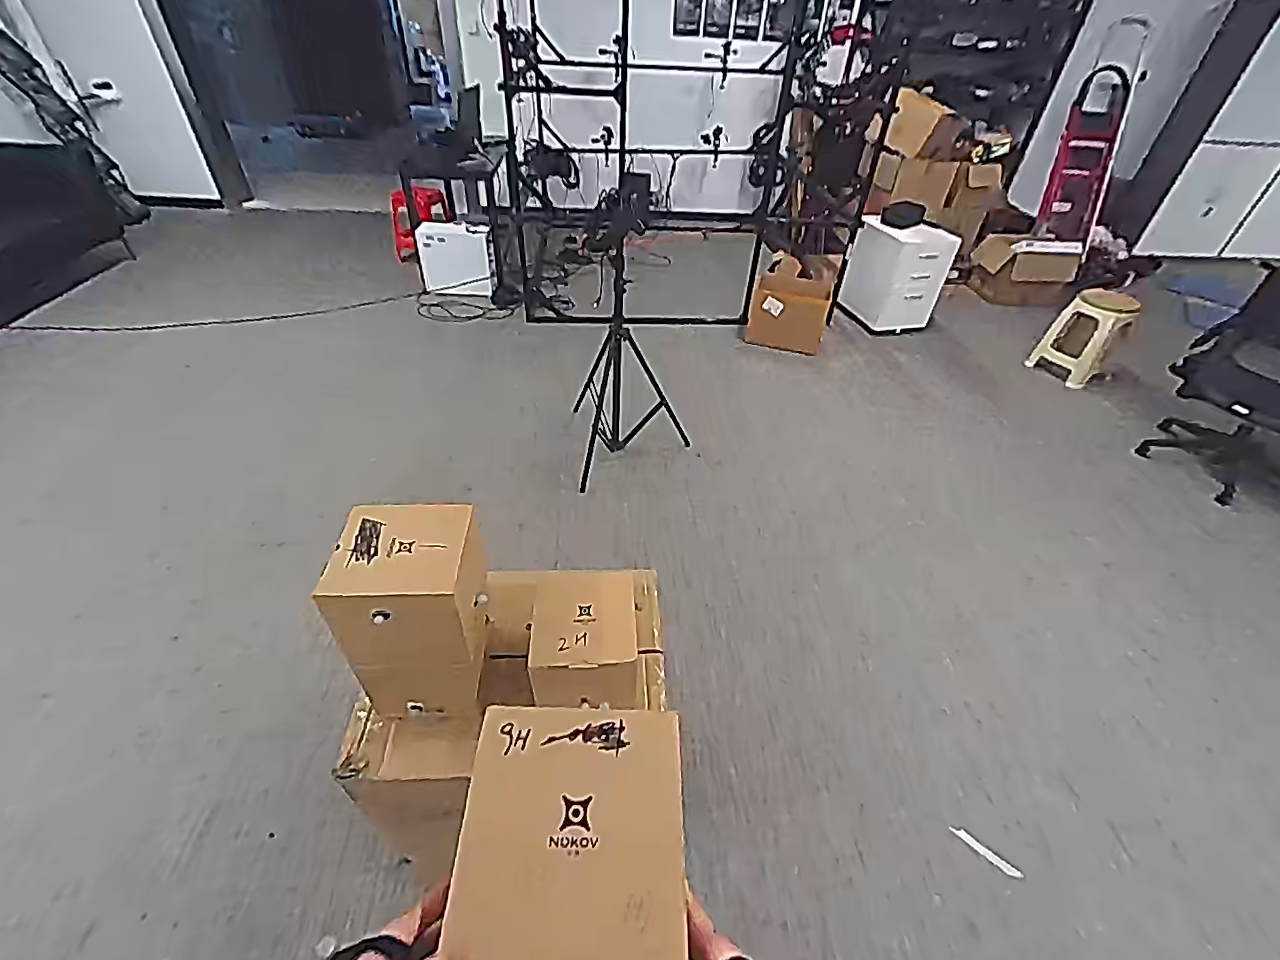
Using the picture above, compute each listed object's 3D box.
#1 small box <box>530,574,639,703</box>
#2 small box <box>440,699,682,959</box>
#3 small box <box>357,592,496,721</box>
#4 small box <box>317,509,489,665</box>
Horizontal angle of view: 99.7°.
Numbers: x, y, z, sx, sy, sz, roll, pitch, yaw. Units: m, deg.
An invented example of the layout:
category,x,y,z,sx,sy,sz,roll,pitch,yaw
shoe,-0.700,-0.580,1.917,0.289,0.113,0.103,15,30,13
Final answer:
category,x,y,z,sx,sy,sz,roll,pitch,yaw
small box,-0.090,0.281,0.922,0.168,0.176,0.179,-2,42,-3
small box,-0.053,0.310,0.470,0.168,0.176,0.179,2,47,-2
small box,-0.343,0.281,0.910,0.168,0.176,0.179,-1,42,-4
small box,-0.333,0.159,0.801,0.179,0.176,0.168,0,41,-5
